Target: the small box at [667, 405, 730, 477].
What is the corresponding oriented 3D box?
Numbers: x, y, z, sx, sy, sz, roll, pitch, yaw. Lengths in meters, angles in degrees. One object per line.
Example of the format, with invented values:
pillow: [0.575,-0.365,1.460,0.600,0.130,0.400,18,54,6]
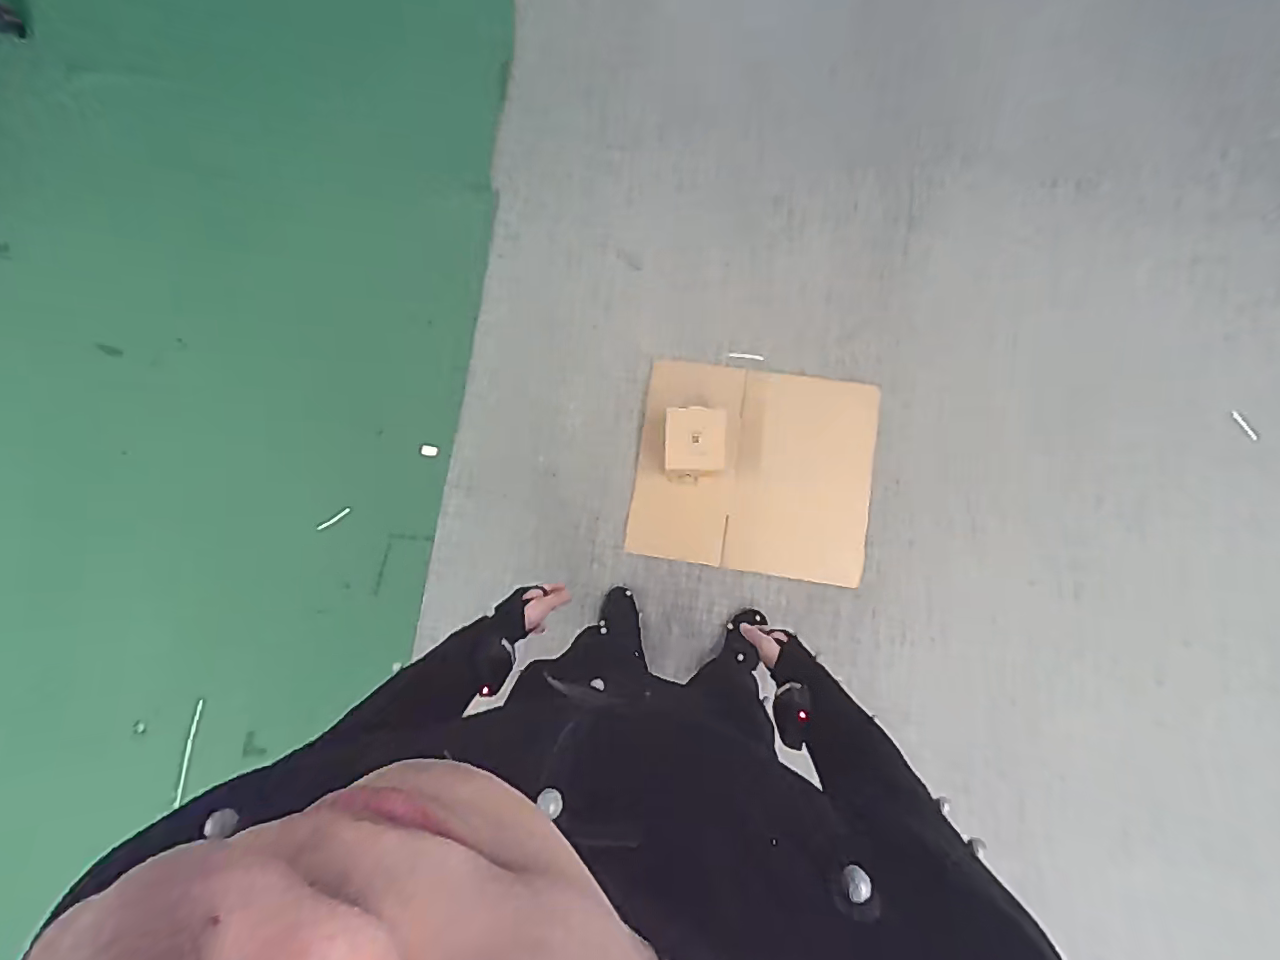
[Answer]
small box: [0.165,-0.109,1.551,0.168,0.176,0.179,2,83,5]
